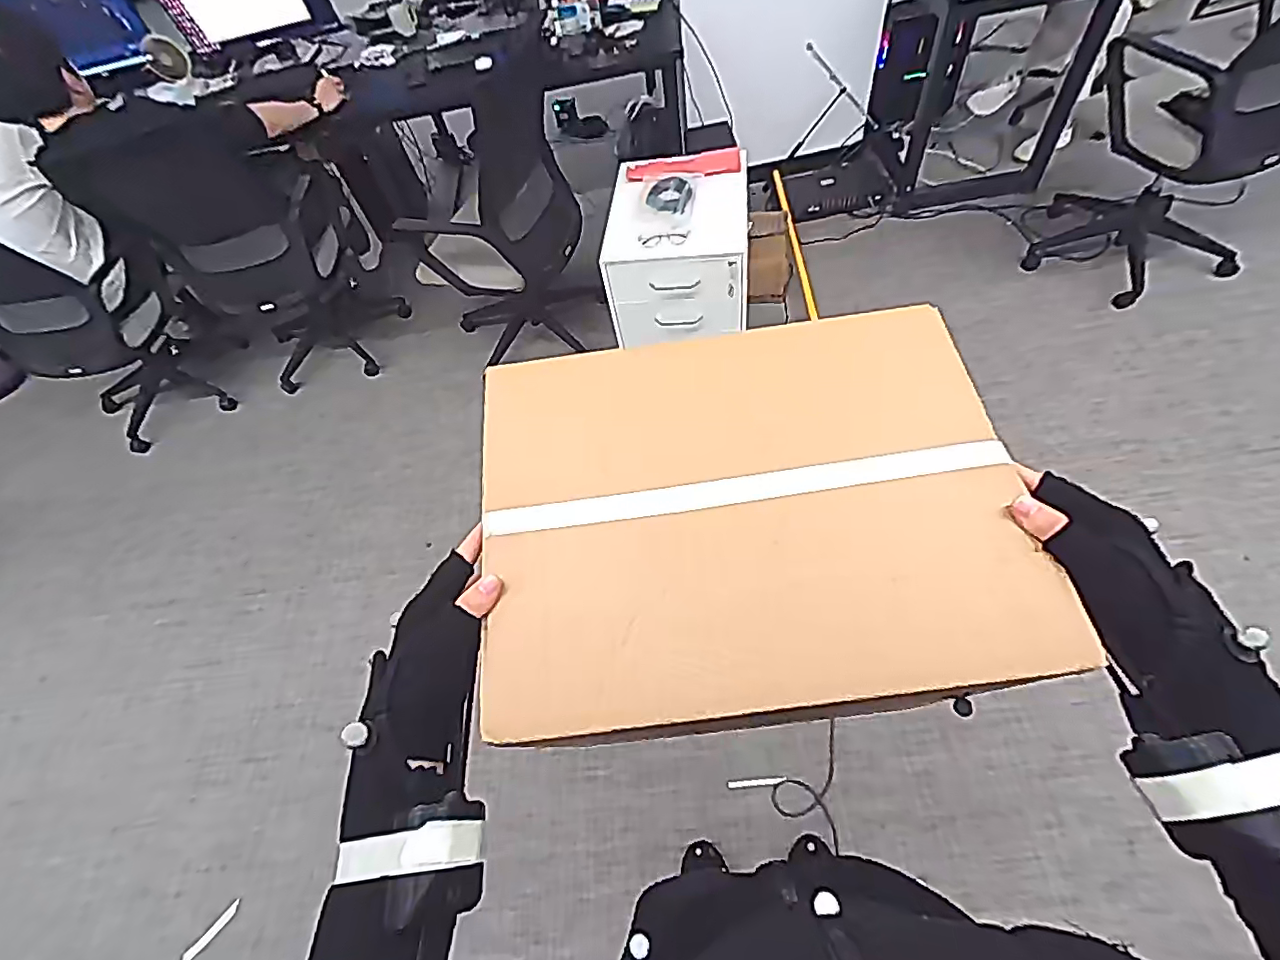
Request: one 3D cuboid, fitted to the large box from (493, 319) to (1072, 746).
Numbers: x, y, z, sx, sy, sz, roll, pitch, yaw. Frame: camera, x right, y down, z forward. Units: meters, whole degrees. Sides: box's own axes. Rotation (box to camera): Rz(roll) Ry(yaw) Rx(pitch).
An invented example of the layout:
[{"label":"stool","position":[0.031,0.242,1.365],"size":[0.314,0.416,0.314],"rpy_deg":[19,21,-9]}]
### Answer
[{"label":"large box","position":[0.093,0.081,0.564],"size":[0.408,0.320,0.320],"rpy_deg":[-8,63,2]}]
